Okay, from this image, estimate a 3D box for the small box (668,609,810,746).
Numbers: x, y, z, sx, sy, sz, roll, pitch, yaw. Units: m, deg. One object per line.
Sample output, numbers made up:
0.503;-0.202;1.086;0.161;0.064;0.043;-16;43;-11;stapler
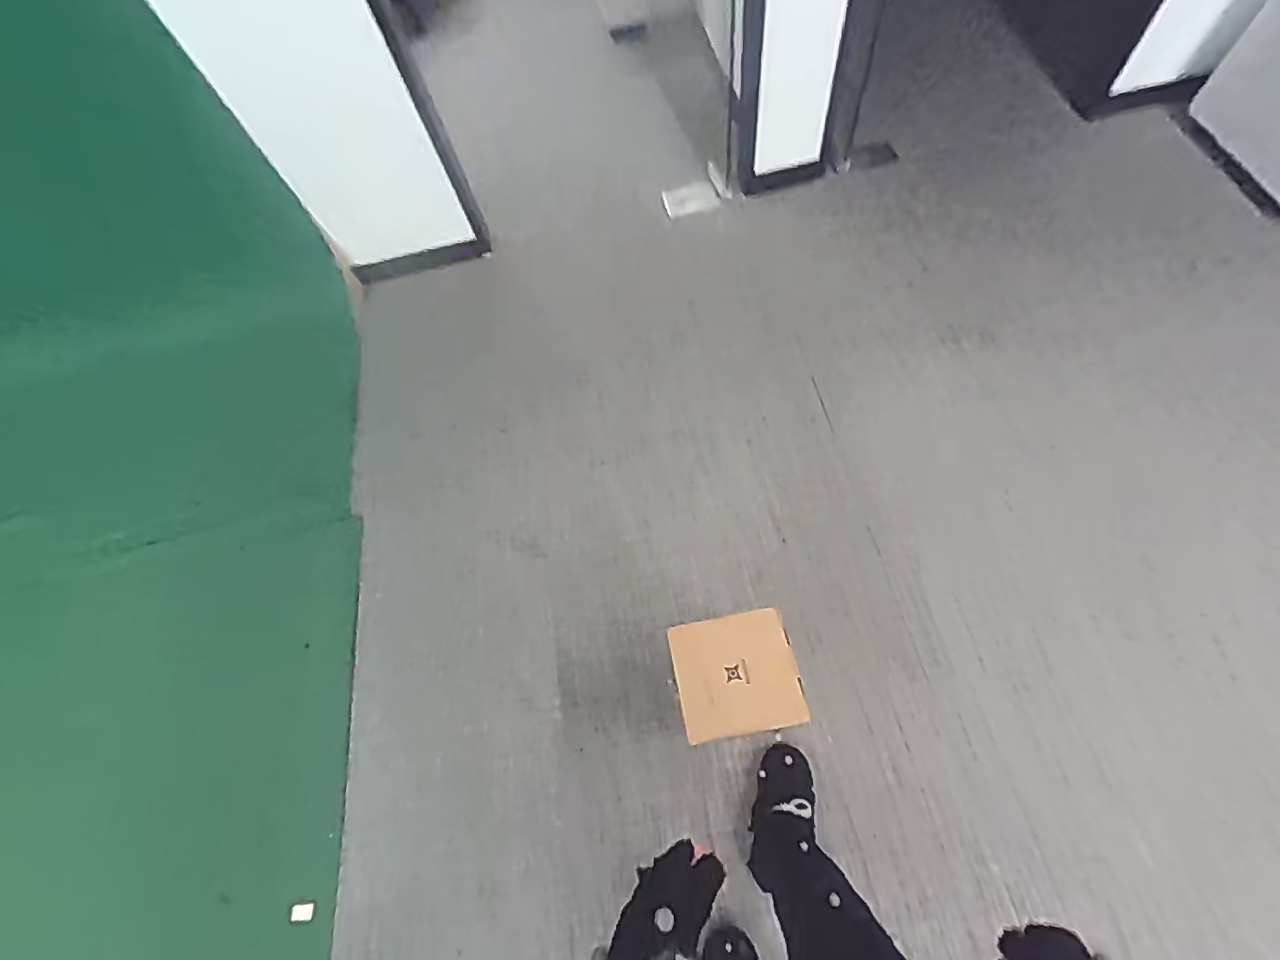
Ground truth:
0.150;0.317;0.858;0.179;0.176;0.168;-13;62;3;small box
